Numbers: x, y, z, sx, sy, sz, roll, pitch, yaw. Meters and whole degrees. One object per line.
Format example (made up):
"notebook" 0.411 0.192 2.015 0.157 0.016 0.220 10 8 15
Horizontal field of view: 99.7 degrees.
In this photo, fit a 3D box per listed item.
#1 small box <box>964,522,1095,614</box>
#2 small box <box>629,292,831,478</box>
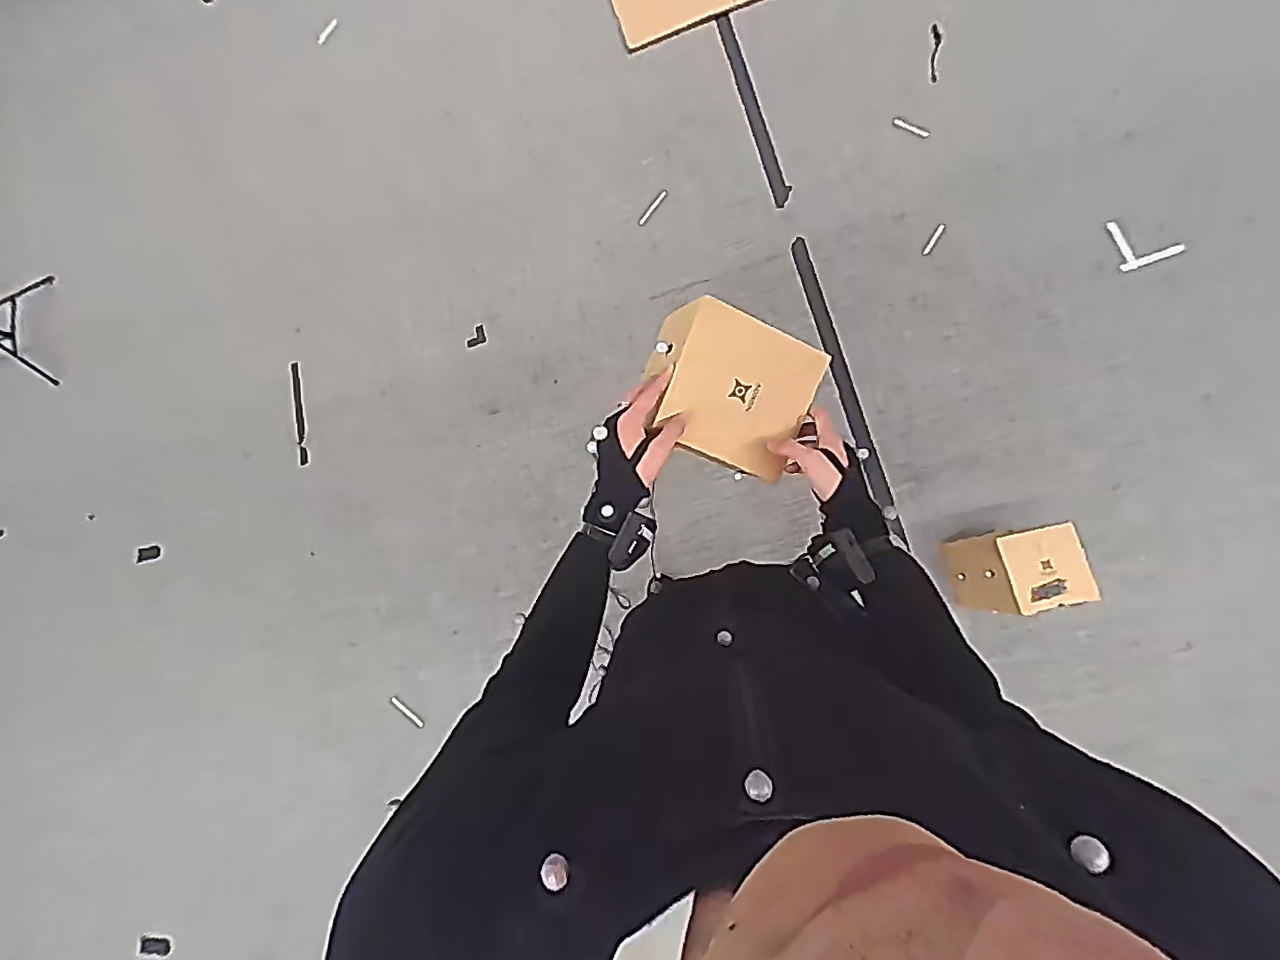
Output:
"small box" 0.902 0.206 1.270 0.168 0.176 0.179 -15 78 7
"small box" 0.102 -0.116 0.699 0.179 0.176 0.168 21 94 -15
